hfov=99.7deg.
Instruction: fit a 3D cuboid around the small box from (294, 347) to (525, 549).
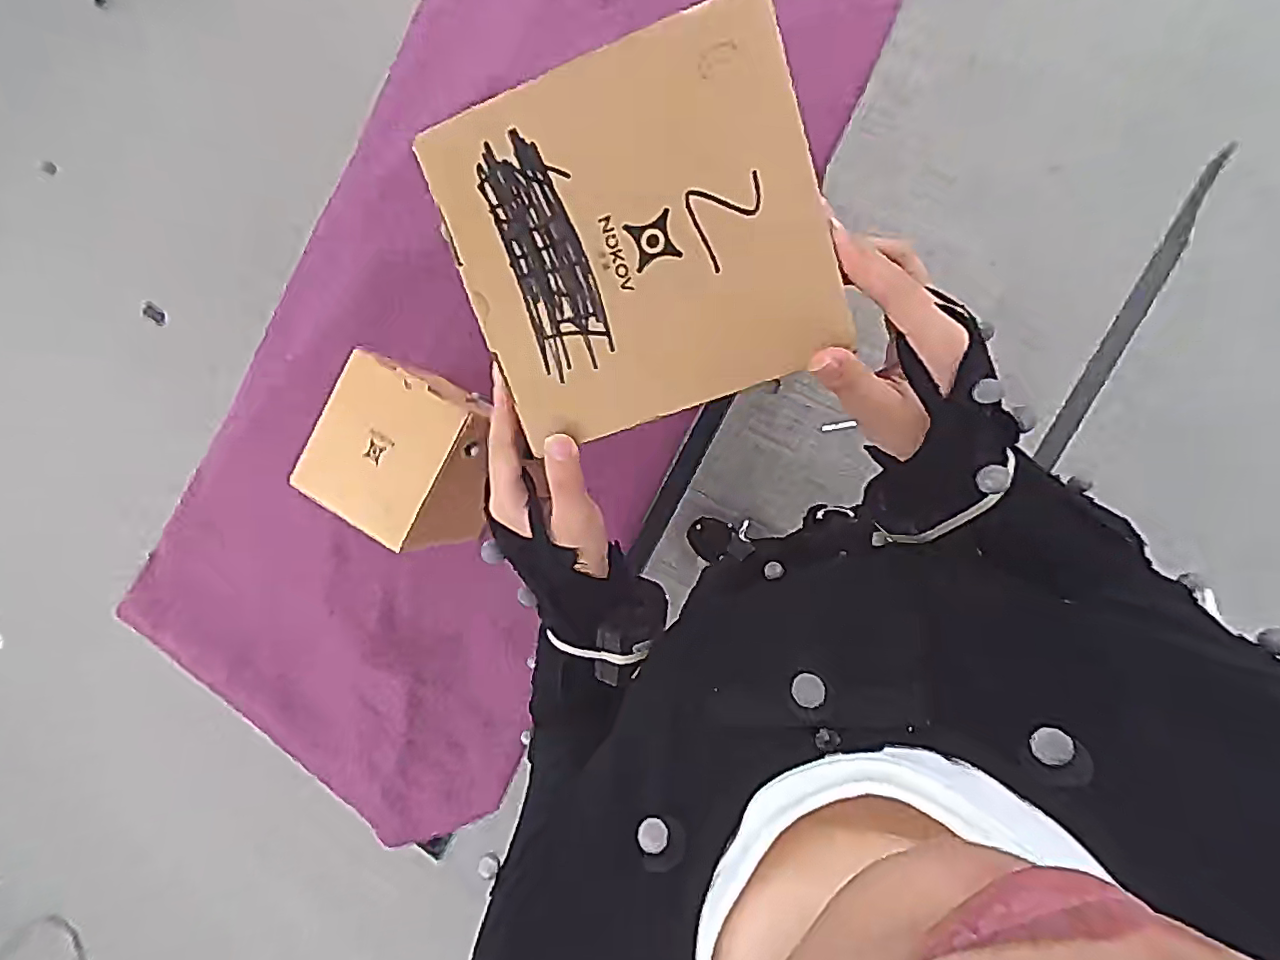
[{"bbox_3d":[-0.271,-0.033,0.674,0.168,0.176,0.179,28,93,12],"label":"small box"}]
